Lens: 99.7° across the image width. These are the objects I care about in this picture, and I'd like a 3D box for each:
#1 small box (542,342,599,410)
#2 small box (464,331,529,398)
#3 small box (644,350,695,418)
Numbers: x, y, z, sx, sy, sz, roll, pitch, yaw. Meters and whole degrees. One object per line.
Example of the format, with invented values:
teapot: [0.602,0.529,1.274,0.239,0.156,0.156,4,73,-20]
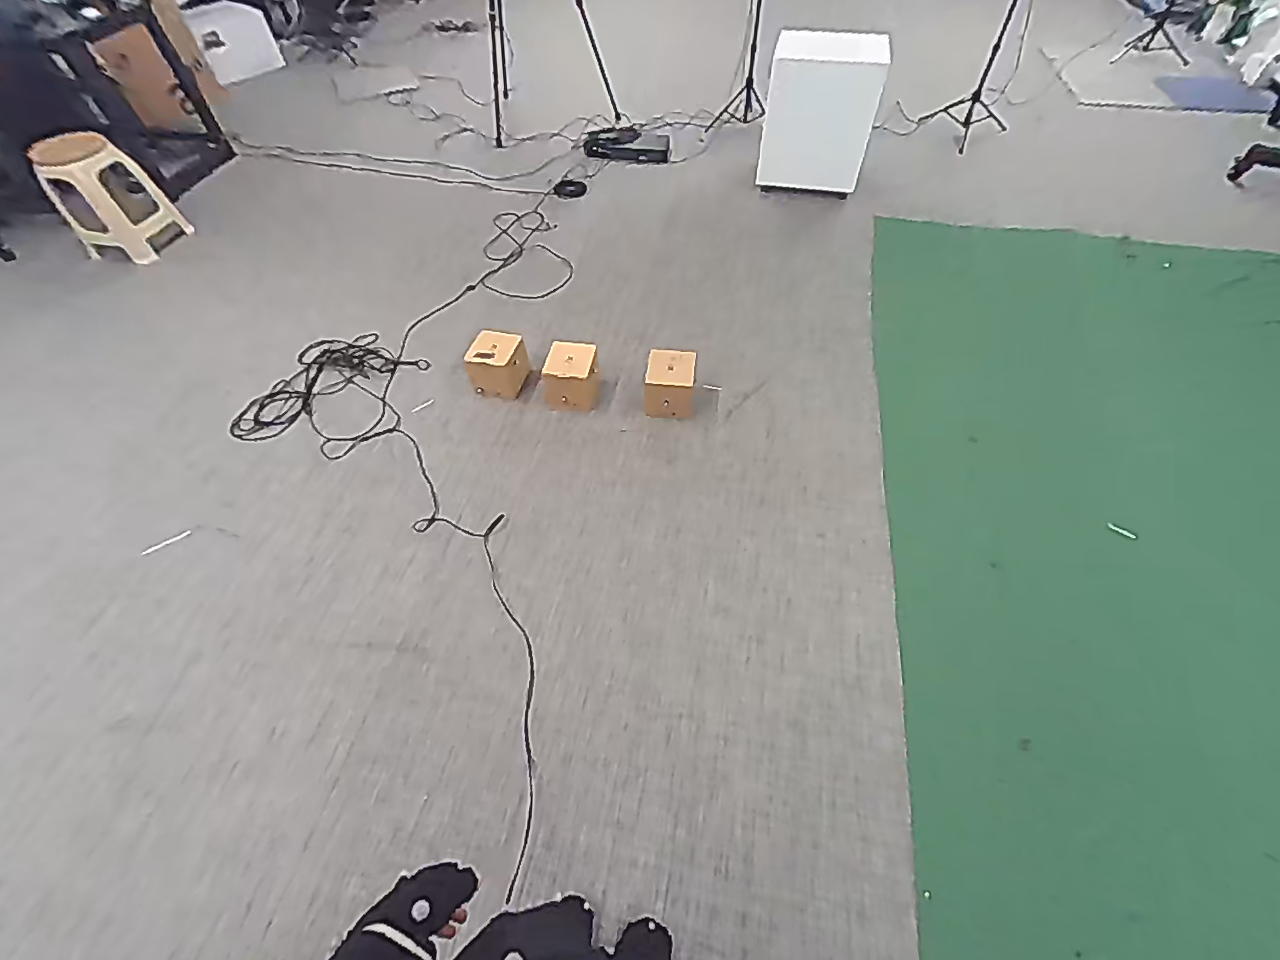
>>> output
small box: [-0.249,-0.383,1.997,0.168,0.176,0.179,7,55,7]
small box: [-0.532,-0.434,2.040,0.168,0.176,0.179,11,54,9]
small box: [0.107,-0.346,1.958,0.168,0.176,0.179,6,55,5]
